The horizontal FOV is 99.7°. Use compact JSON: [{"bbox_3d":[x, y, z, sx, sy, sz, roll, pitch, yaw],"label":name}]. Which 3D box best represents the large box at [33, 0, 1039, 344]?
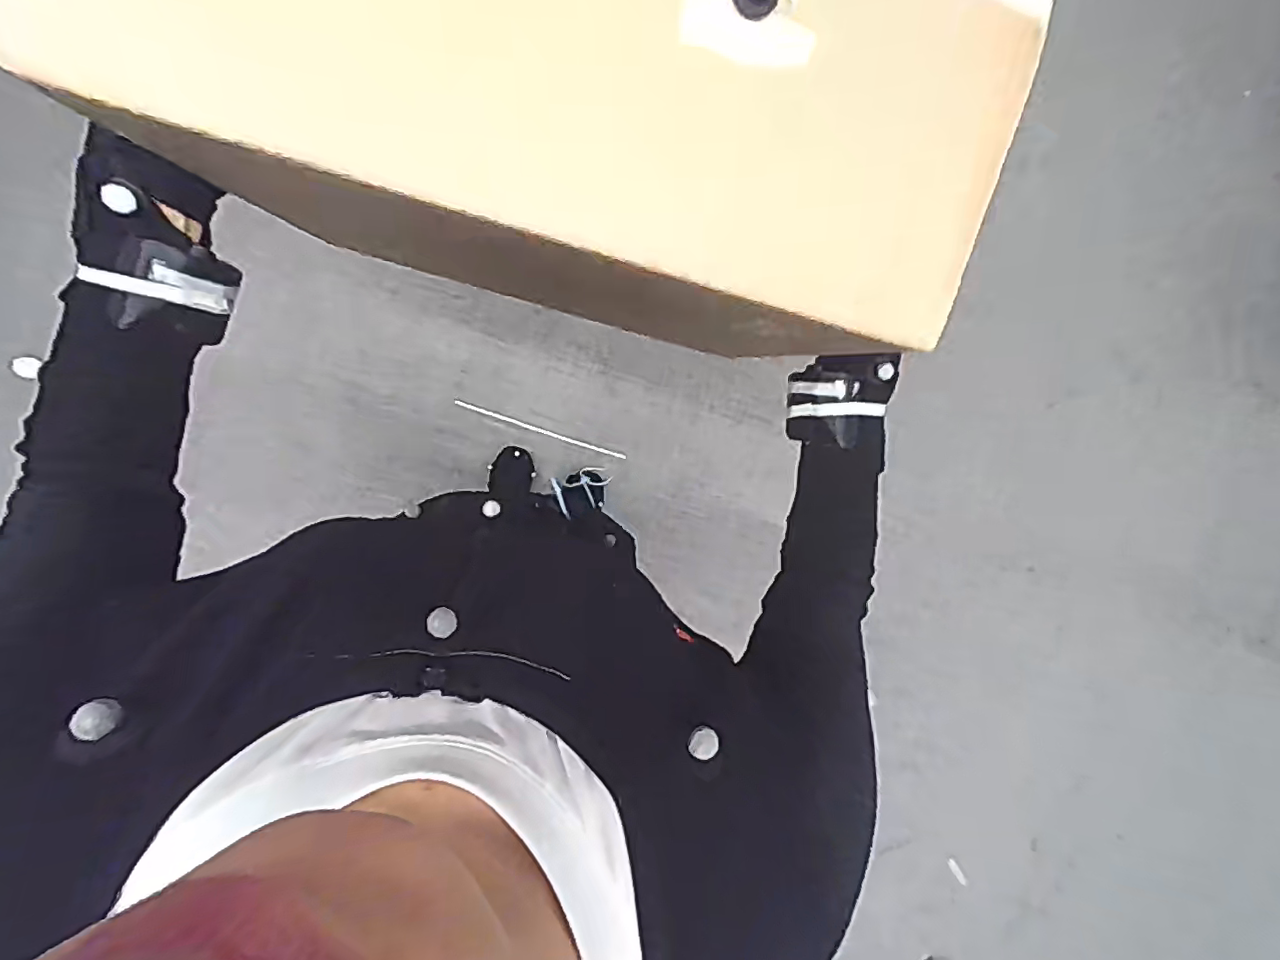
[{"bbox_3d":[-0.027,-0.295,0.361,0.408,0.320,0.320,12,100,-13],"label":"large box"}]
